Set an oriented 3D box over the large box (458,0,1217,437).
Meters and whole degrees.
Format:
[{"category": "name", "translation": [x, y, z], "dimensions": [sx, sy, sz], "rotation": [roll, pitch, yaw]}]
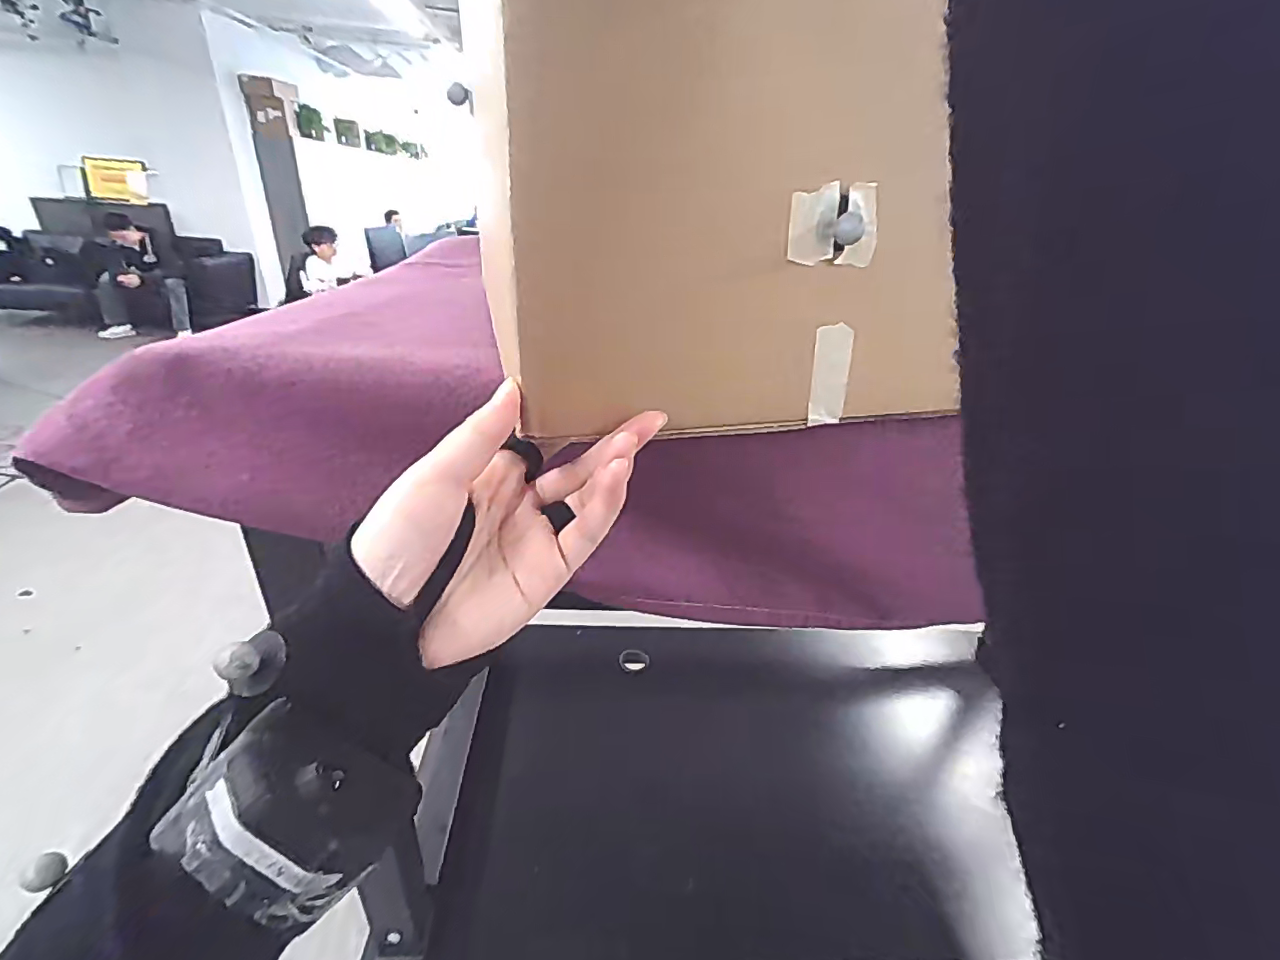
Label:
[{"category": "large box", "translation": [0.049, -0.253, 0.369], "dimensions": [0.320, 0.320, 0.408], "rotation": [-5, 29, -16]}]
